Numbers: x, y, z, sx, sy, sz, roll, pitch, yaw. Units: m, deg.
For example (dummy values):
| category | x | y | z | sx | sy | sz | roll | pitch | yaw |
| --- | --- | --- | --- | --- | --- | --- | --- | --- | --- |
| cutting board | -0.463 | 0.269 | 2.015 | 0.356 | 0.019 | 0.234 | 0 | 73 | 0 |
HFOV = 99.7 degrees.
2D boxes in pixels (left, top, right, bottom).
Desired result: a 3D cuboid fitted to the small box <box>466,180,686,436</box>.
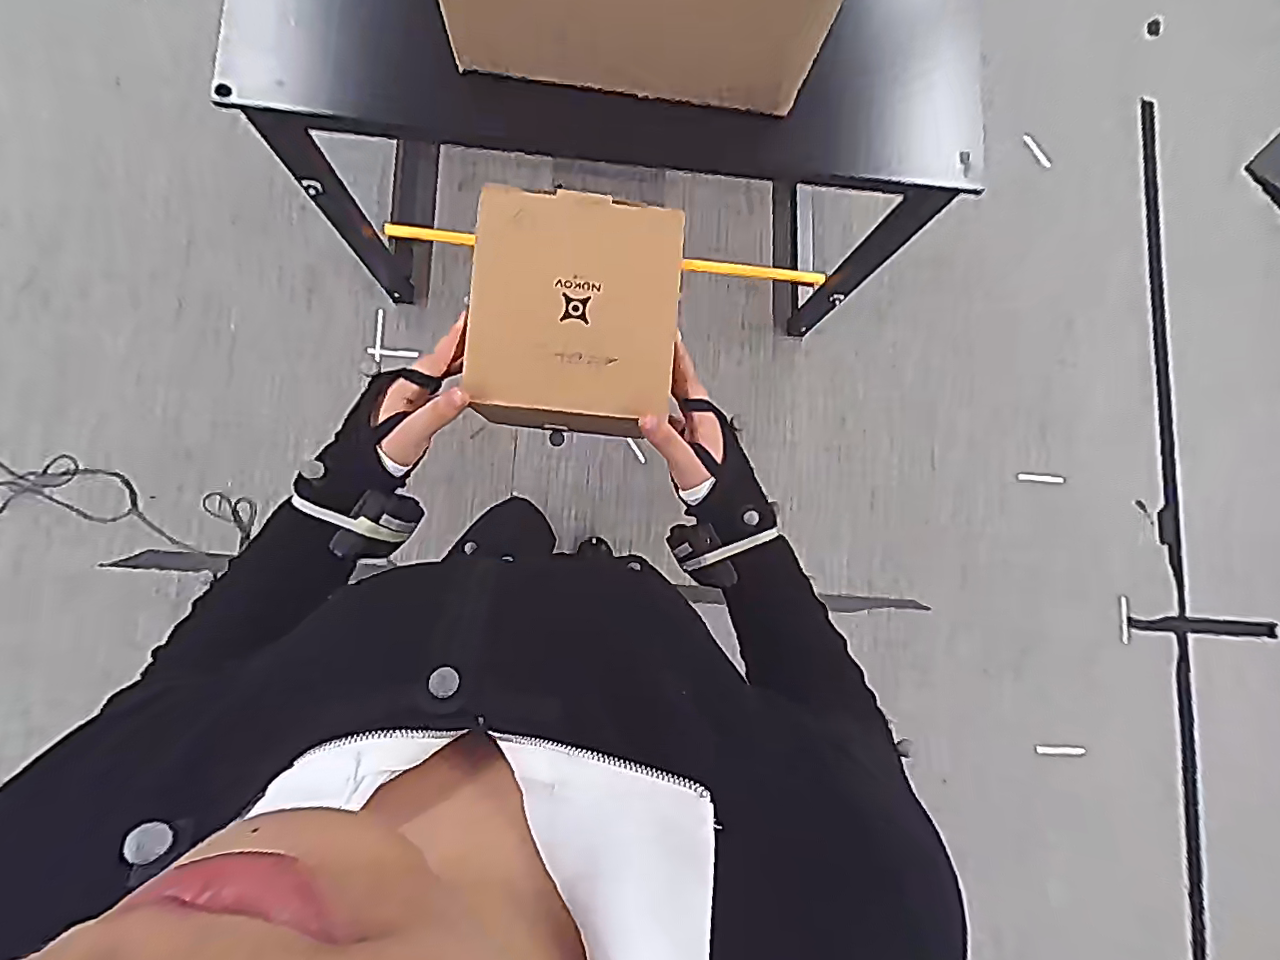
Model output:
| category | x | y | z | sx | sy | sz | roll | pitch | yaw |
| --- | --- | --- | --- | --- | --- | --- | --- | --- | --- |
| small box | -0.058 | -0.143 | 0.513 | 0.168 | 0.176 | 0.179 | 5 | 88 | -5 |
